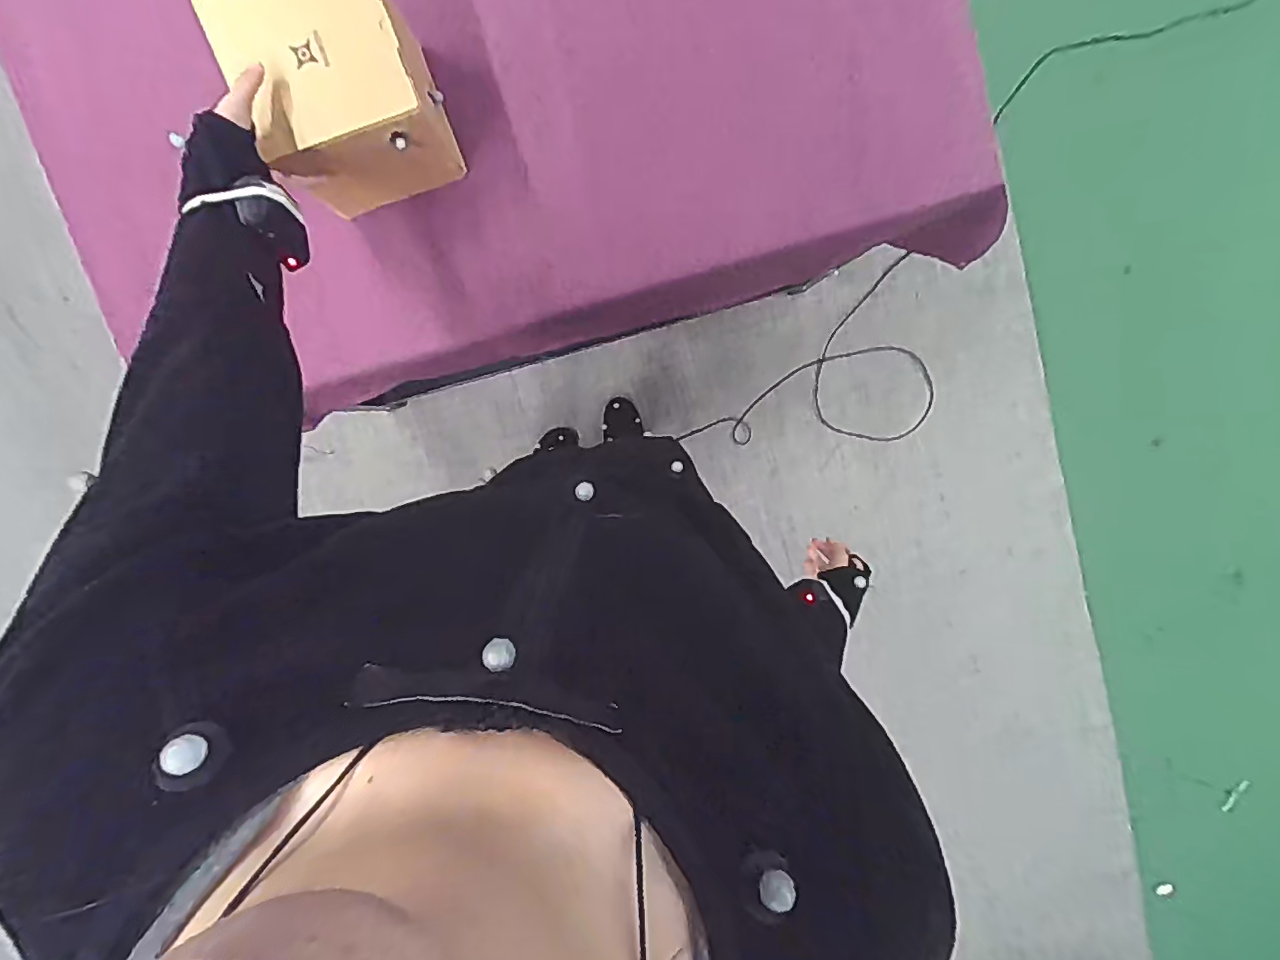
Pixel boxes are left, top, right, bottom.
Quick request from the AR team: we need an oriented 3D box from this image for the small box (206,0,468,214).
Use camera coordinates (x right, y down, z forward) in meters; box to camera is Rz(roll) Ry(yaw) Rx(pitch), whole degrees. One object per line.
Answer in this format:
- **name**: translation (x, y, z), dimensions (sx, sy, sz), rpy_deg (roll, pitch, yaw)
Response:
- **small box**: translation (-0.327, -0.439, 0.624), dimensions (0.179, 0.176, 0.168), rpy_deg (-21, 98, 0)
